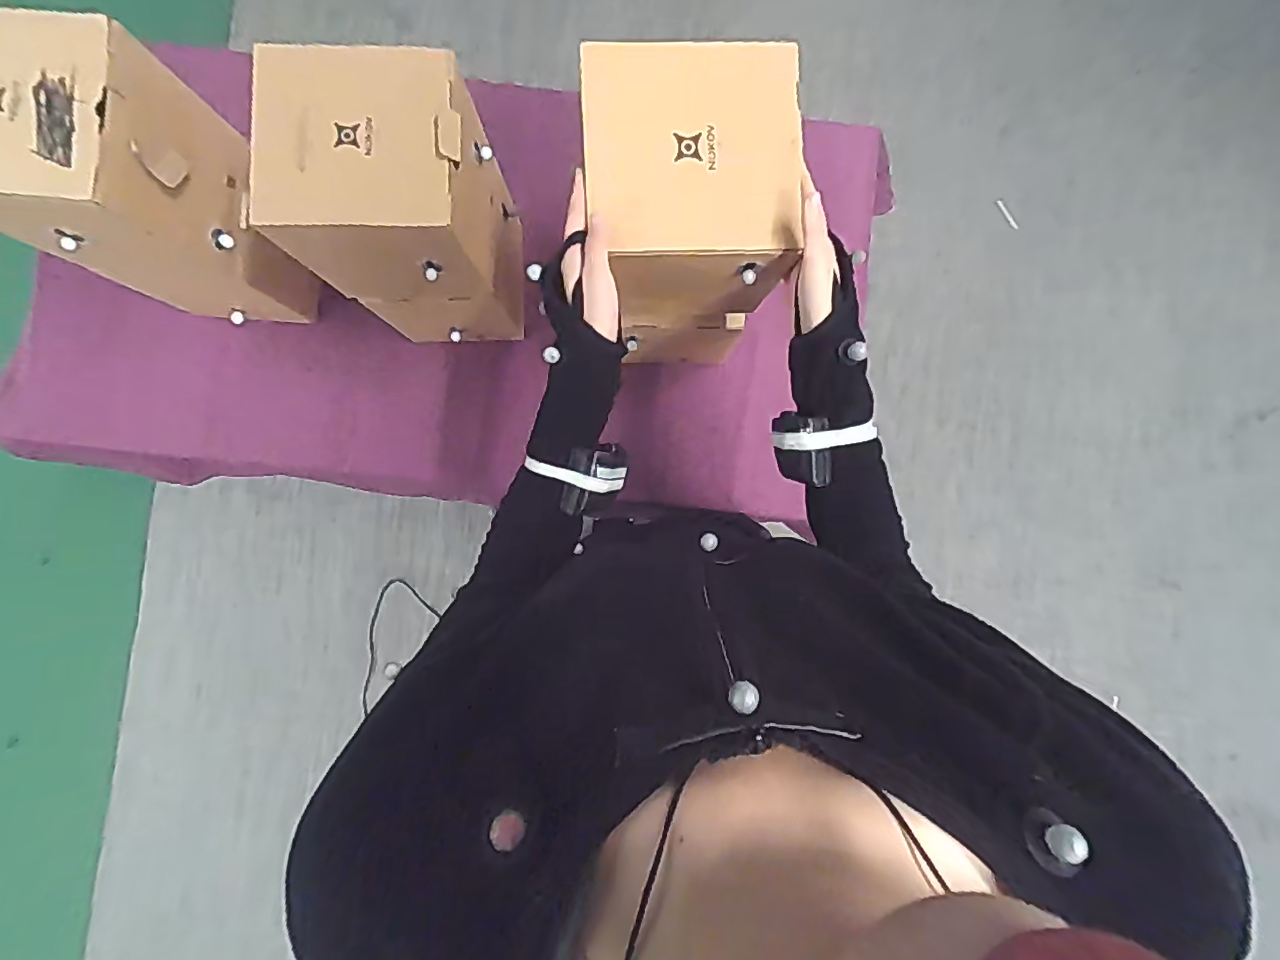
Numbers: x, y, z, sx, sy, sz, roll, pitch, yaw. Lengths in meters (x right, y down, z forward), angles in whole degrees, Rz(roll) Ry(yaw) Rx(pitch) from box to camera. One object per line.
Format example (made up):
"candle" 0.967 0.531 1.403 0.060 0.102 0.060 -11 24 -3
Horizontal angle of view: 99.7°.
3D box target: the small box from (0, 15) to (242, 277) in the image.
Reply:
"small box" -0.552 -0.322 0.552 0.179 0.176 0.168 4 89 0

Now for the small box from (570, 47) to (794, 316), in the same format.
"small box" 0.031 -0.260 0.509 0.179 0.176 0.168 -2 90 -3

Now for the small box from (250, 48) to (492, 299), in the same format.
"small box" -0.258 -0.298 0.560 0.179 0.176 0.168 0 88 -1

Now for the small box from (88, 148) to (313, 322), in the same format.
"small box" -0.556 -0.318 0.716 0.179 0.176 0.168 4 88 -1

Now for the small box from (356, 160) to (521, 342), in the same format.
"small box" -0.259 -0.295 0.723 0.168 0.176 0.179 -1 89 -1
